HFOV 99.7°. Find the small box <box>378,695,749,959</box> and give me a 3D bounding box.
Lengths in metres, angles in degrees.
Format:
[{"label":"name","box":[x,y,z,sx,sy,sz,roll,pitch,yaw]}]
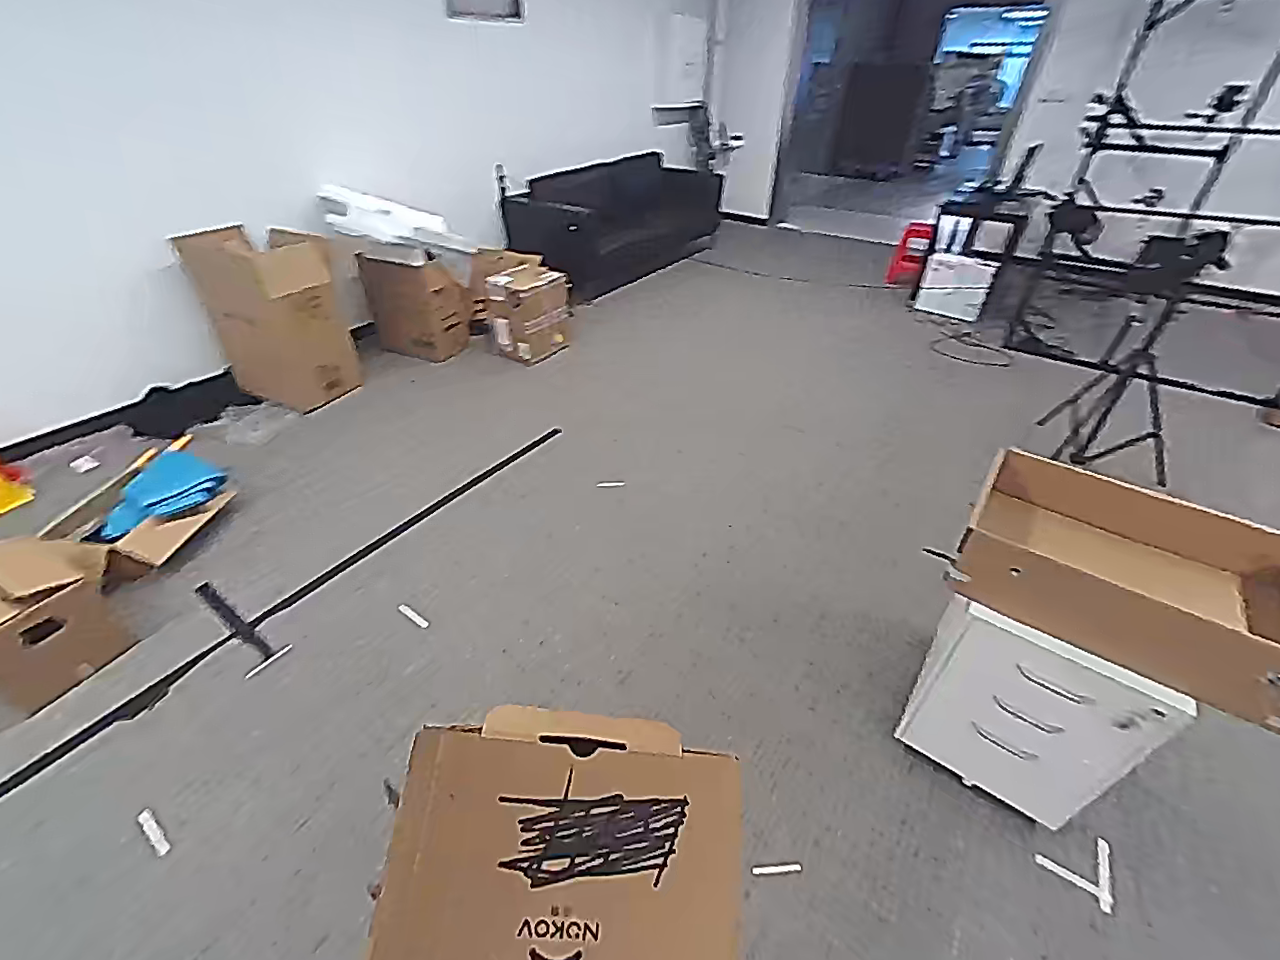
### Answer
[{"label":"small box","box":[-0.042,0.234,0.316,0.168,0.176,0.179,8,63,-5]}]
